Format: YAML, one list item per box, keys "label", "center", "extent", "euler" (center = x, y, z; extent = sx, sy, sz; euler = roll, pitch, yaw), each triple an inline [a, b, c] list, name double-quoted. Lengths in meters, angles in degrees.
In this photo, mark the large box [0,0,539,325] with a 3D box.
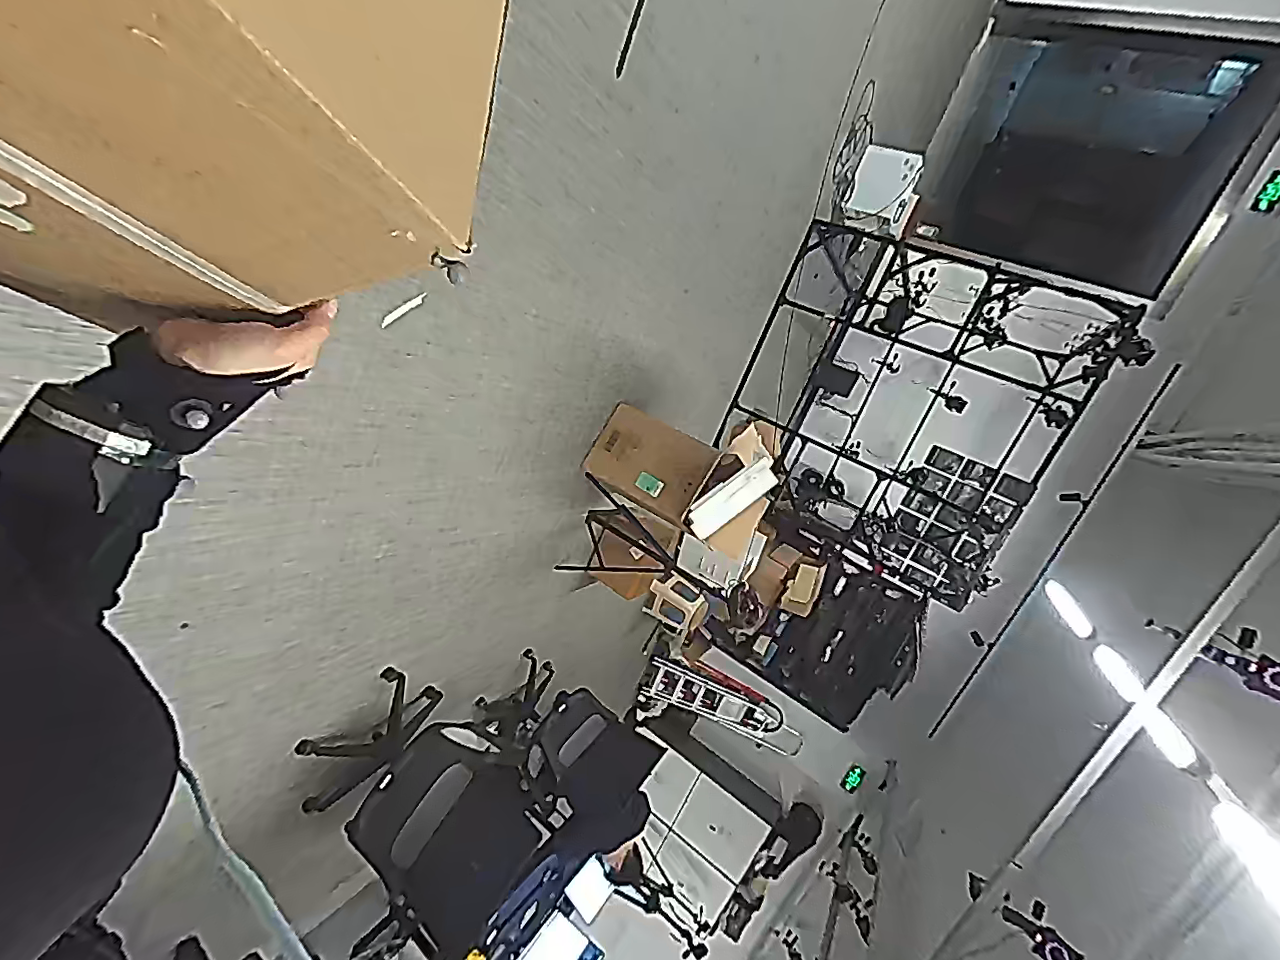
- label: "large box"
  center: [-0.280, -0.328, 0.227]
  extent: [0.408, 0.320, 0.320]
  euler: [35, 54, -62]
